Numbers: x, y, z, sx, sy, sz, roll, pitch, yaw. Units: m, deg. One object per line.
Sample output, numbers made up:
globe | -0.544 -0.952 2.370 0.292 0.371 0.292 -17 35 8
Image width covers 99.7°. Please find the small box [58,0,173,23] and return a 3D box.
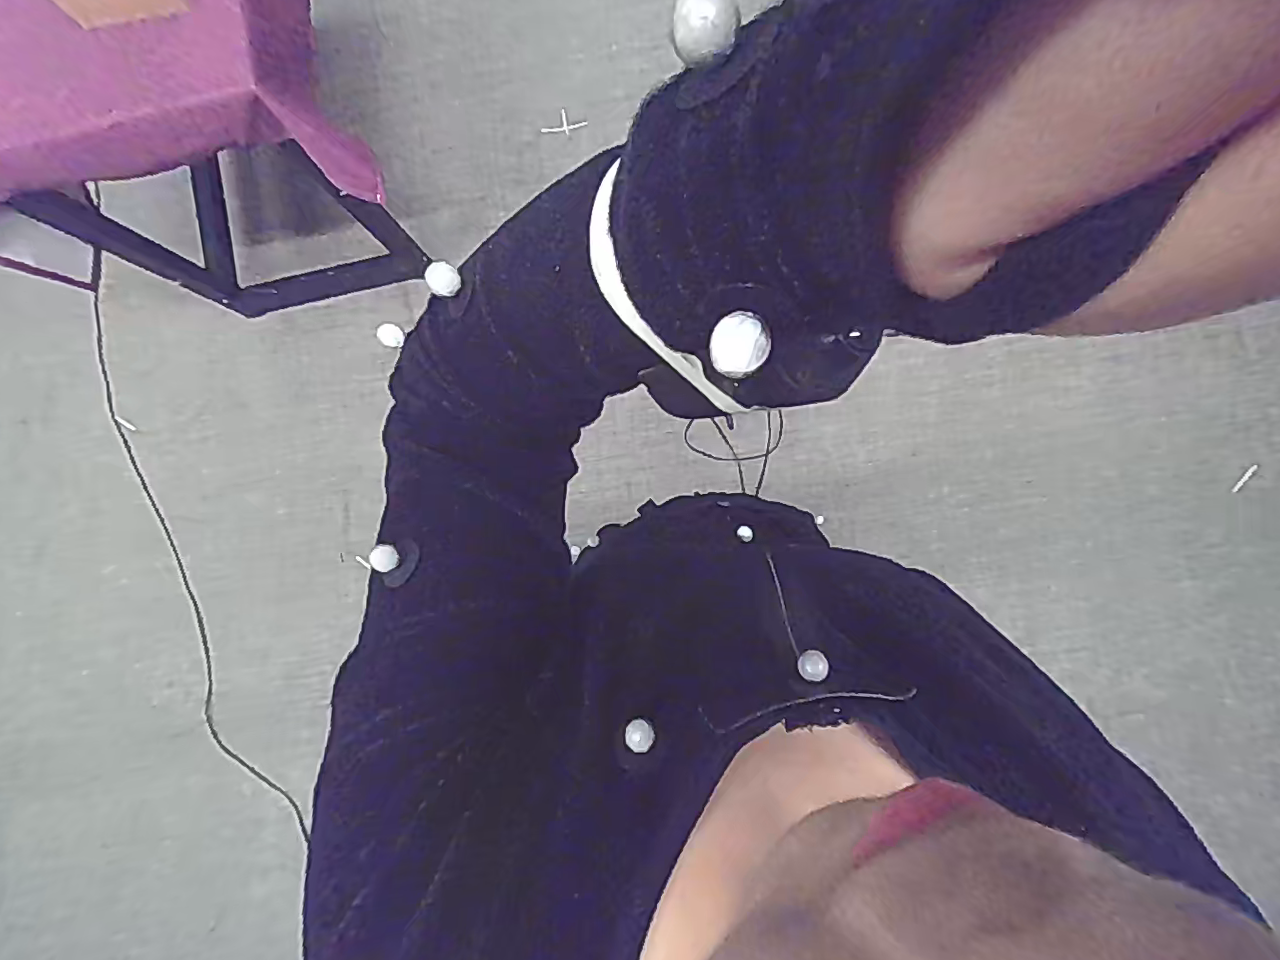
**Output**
small box | -0.815 -0.821 0.783 0.179 0.176 0.168 -9 86 2
